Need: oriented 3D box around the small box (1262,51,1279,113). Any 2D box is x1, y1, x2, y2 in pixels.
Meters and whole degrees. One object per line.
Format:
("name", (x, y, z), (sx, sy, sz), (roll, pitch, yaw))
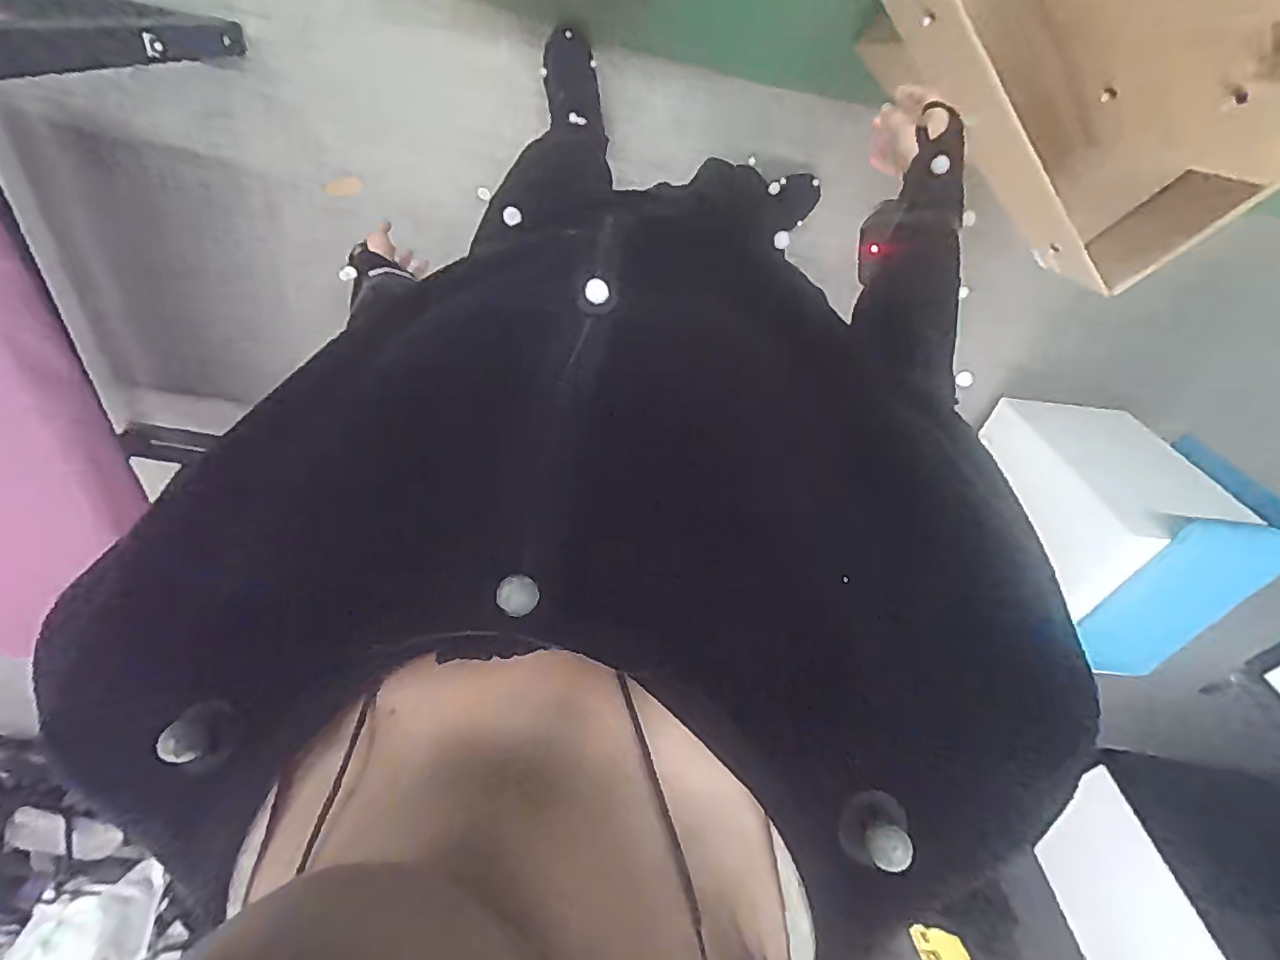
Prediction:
("small box", (0.689, -0.354, 0.432), (0.179, 0.176, 0.168), (25, 125, -16))
